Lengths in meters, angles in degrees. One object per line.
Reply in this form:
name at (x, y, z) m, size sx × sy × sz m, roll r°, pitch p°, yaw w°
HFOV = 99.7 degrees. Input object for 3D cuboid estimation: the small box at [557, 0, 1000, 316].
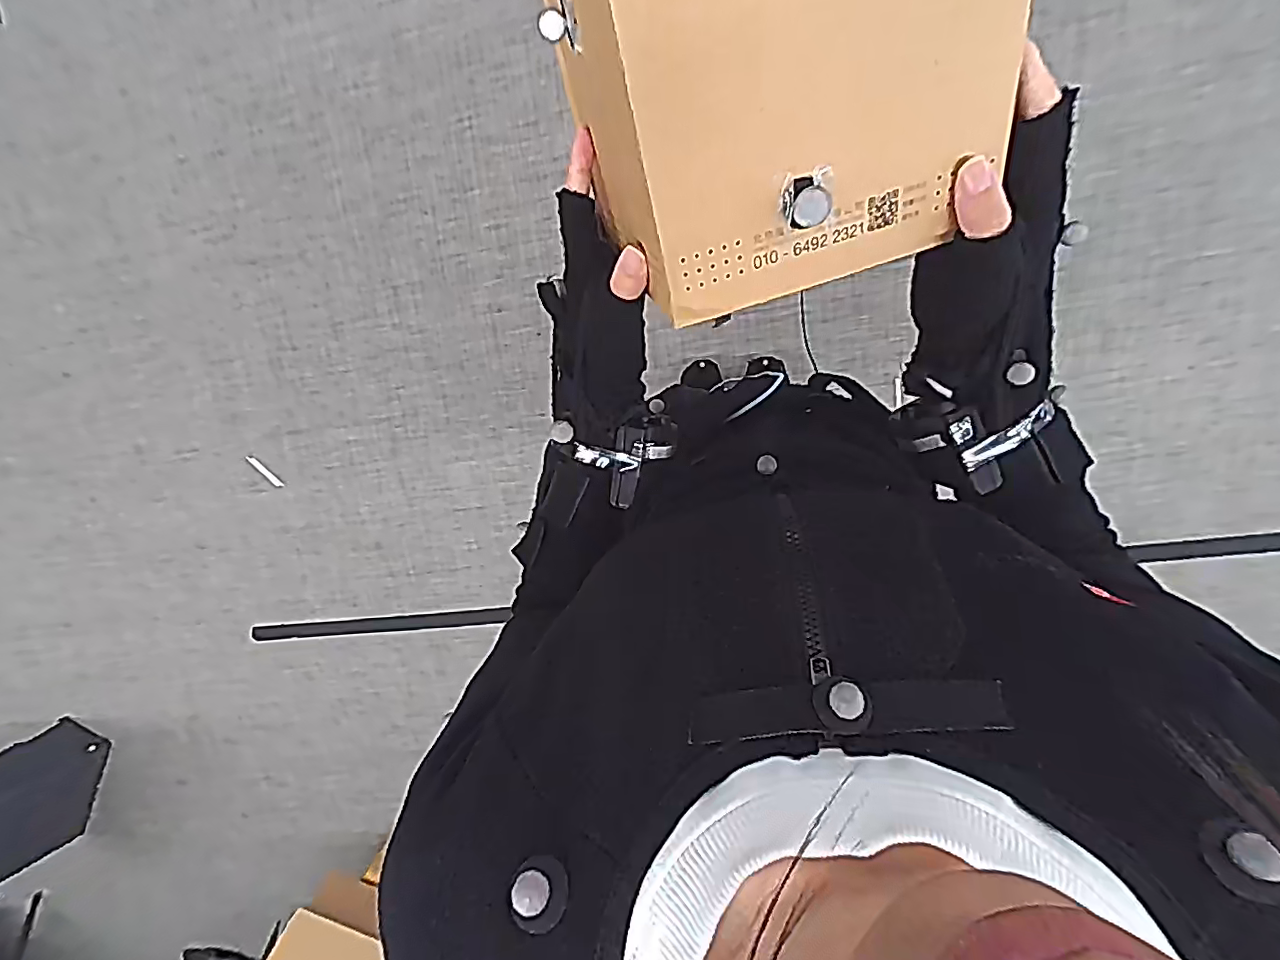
small box at (0.057, -0.210, 0.293) m, size 0.168 × 0.179 × 0.176 m, roll -19°, pitch 127°, yaw -2°
